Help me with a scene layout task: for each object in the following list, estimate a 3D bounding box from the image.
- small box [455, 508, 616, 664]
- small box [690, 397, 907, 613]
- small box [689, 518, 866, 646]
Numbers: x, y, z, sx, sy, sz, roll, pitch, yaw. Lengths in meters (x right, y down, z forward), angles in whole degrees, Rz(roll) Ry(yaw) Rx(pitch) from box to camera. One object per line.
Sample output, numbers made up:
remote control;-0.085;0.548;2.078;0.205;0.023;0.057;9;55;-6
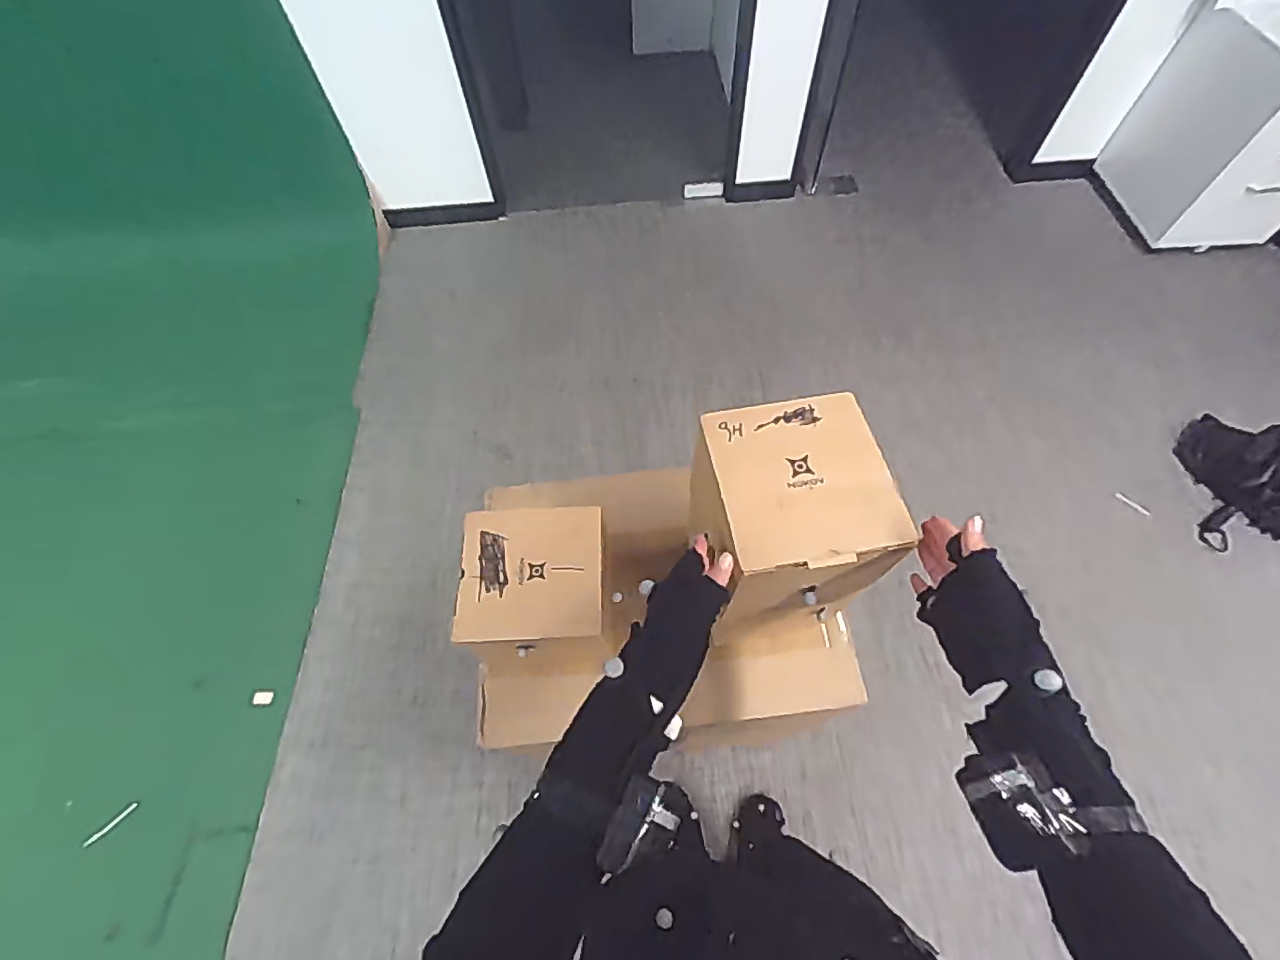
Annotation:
small box;-0.128;0.150;0.730;0.179;0.176;0.168;-3;63;1
small box;0.153;0.038;0.594;0.168;0.176;0.179;-9;62;-3
small box;0.171;0.113;0.738;0.179;0.176;0.168;-14;61;-3
